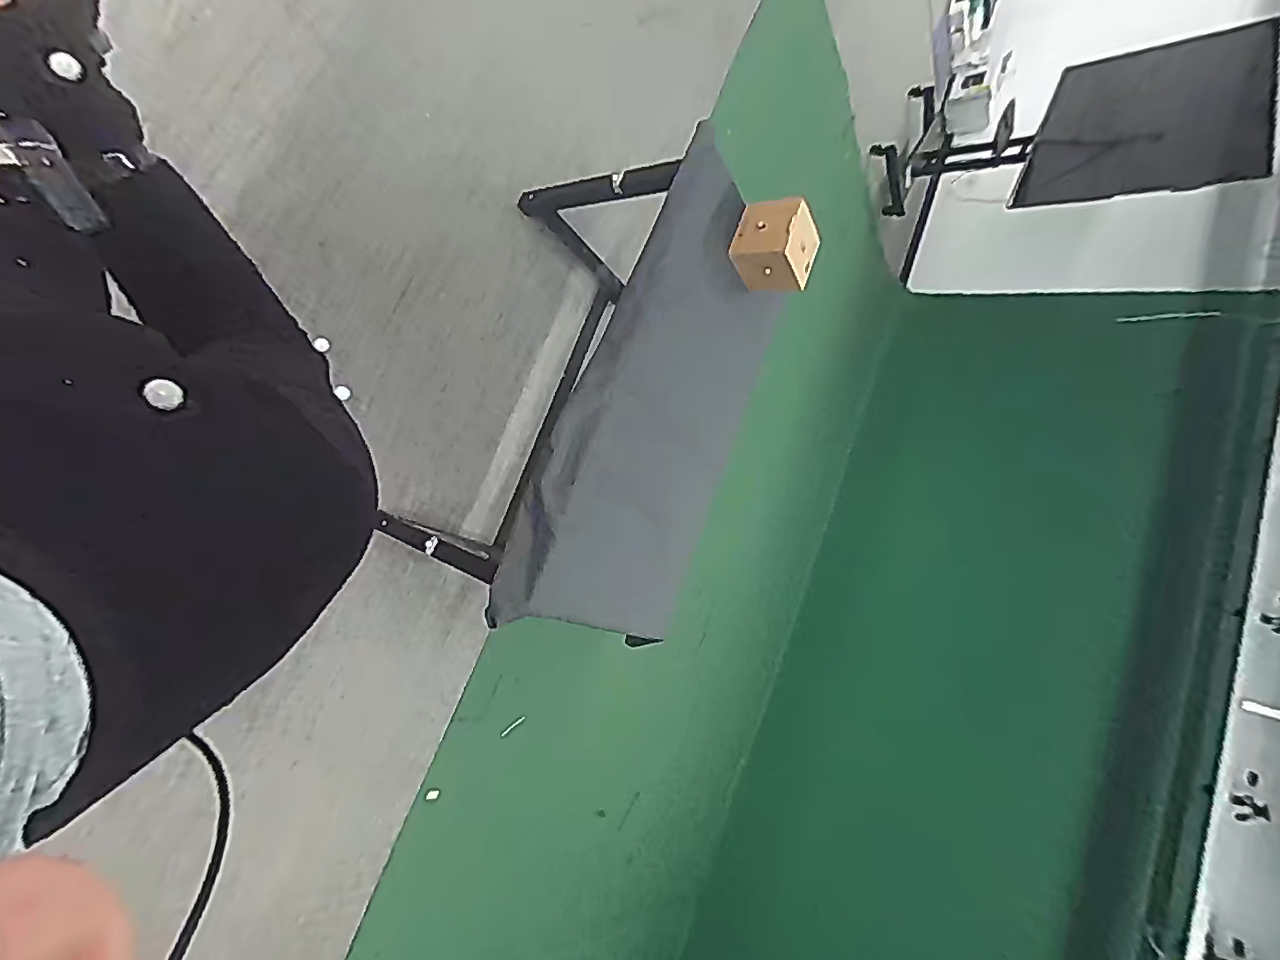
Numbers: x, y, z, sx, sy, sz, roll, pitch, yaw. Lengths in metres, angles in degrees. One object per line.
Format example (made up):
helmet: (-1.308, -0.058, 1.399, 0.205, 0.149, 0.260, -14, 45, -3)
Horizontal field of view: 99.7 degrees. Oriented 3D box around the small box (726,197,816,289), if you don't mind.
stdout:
small box: (0.363, -0.646, 1.499, 0.179, 0.176, 0.168, 32, 78, -51)
